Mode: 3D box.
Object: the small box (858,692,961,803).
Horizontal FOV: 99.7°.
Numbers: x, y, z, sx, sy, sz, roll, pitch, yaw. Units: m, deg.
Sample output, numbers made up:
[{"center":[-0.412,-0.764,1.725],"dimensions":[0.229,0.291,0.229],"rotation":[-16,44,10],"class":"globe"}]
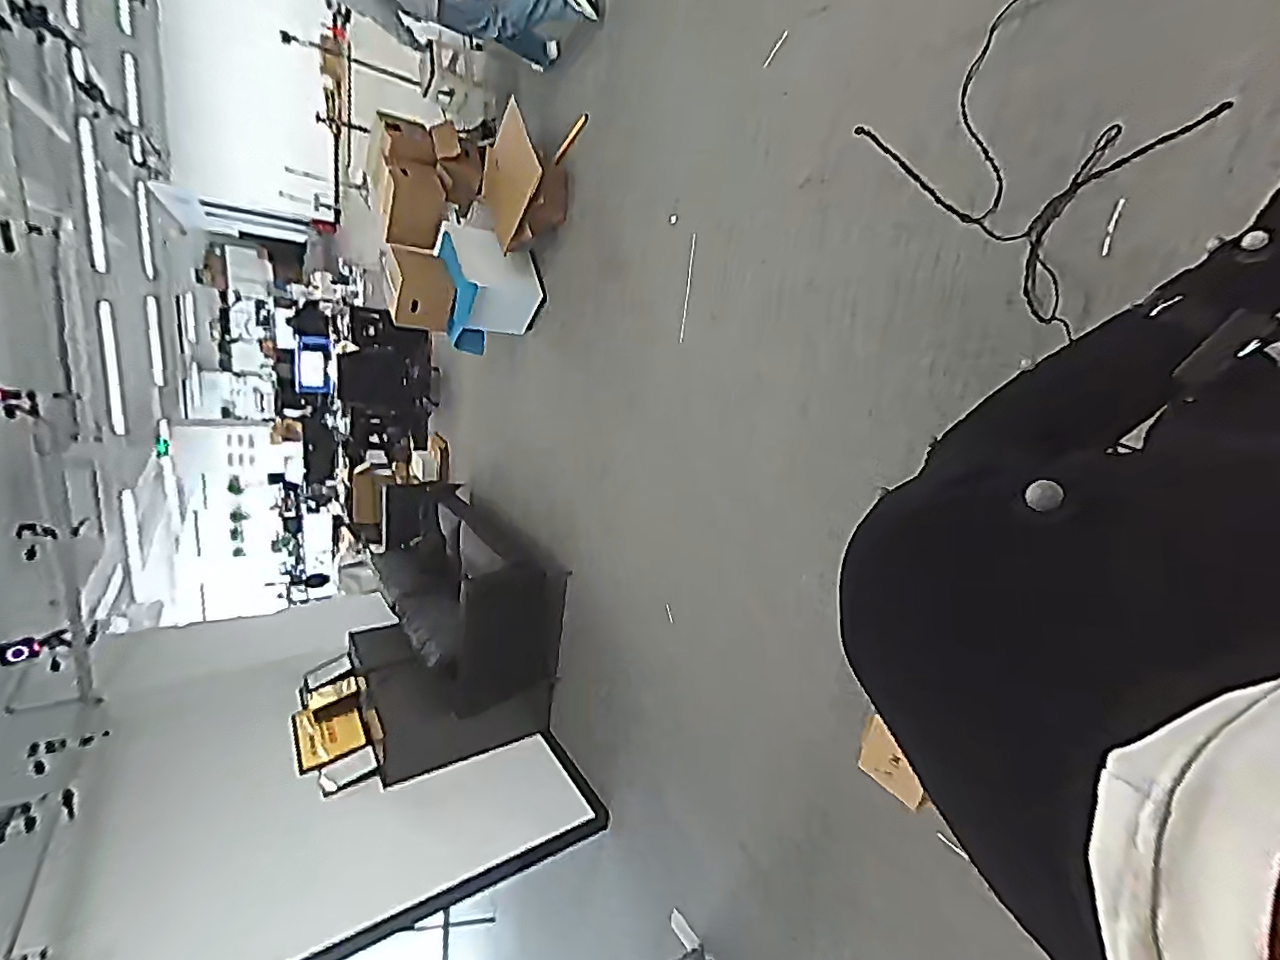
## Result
[{"center":[0.717,0.697,1.433],"dimensions":[0.168,0.176,0.179],"rotation":[30,117,48],"class":"small box"}]
